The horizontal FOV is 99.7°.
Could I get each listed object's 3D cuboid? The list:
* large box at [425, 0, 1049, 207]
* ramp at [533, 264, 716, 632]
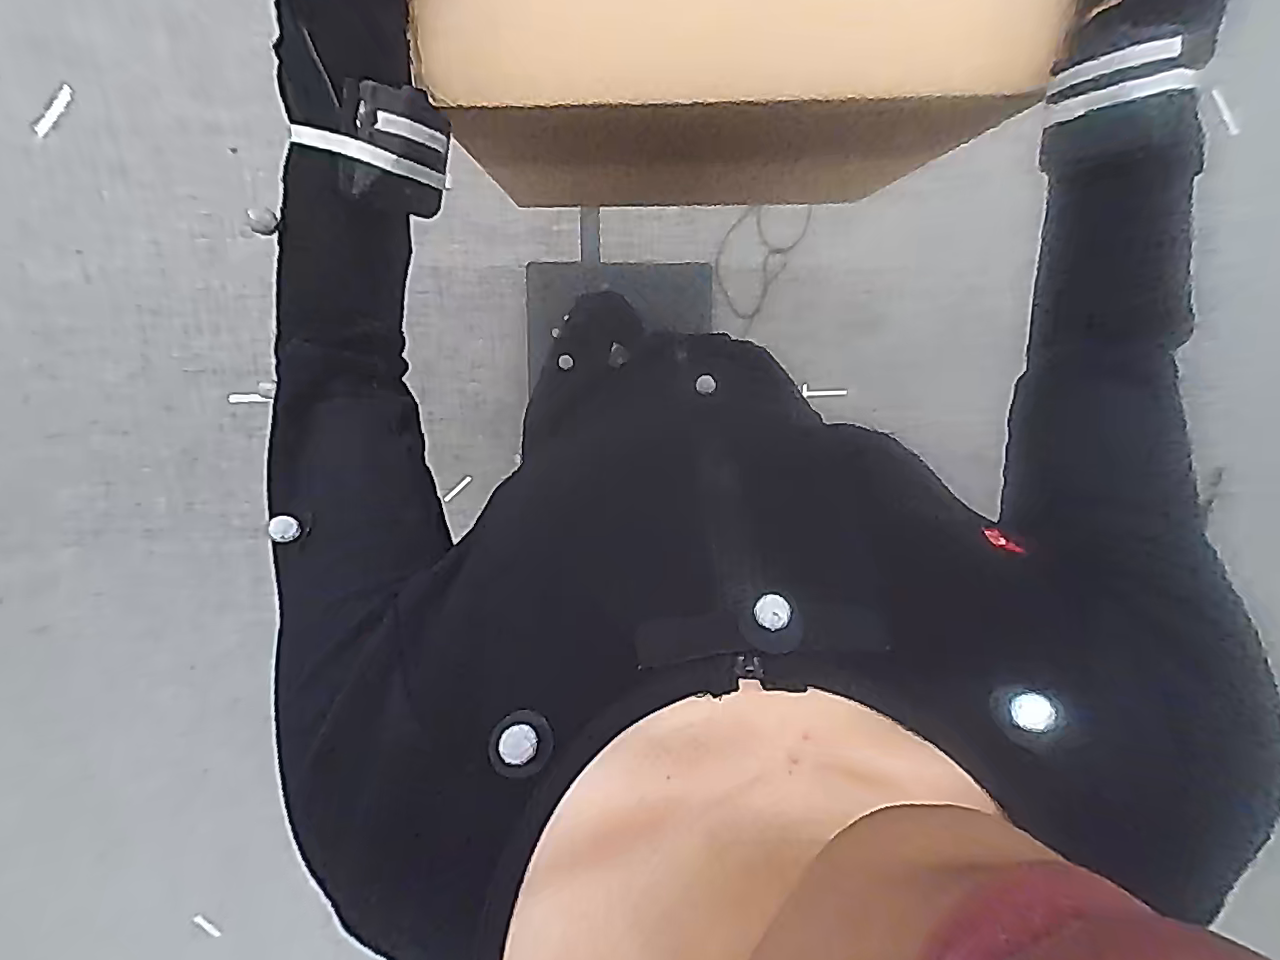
[{"bbox_3d":[0.054,-0.439,0.457,0.408,0.320,0.320,-2,106,-1],"label":"large box"},{"bbox_3d":[-0.040,-0.074,1.475,0.509,0.206,0.991,-2,104,1],"label":"ramp"}]
